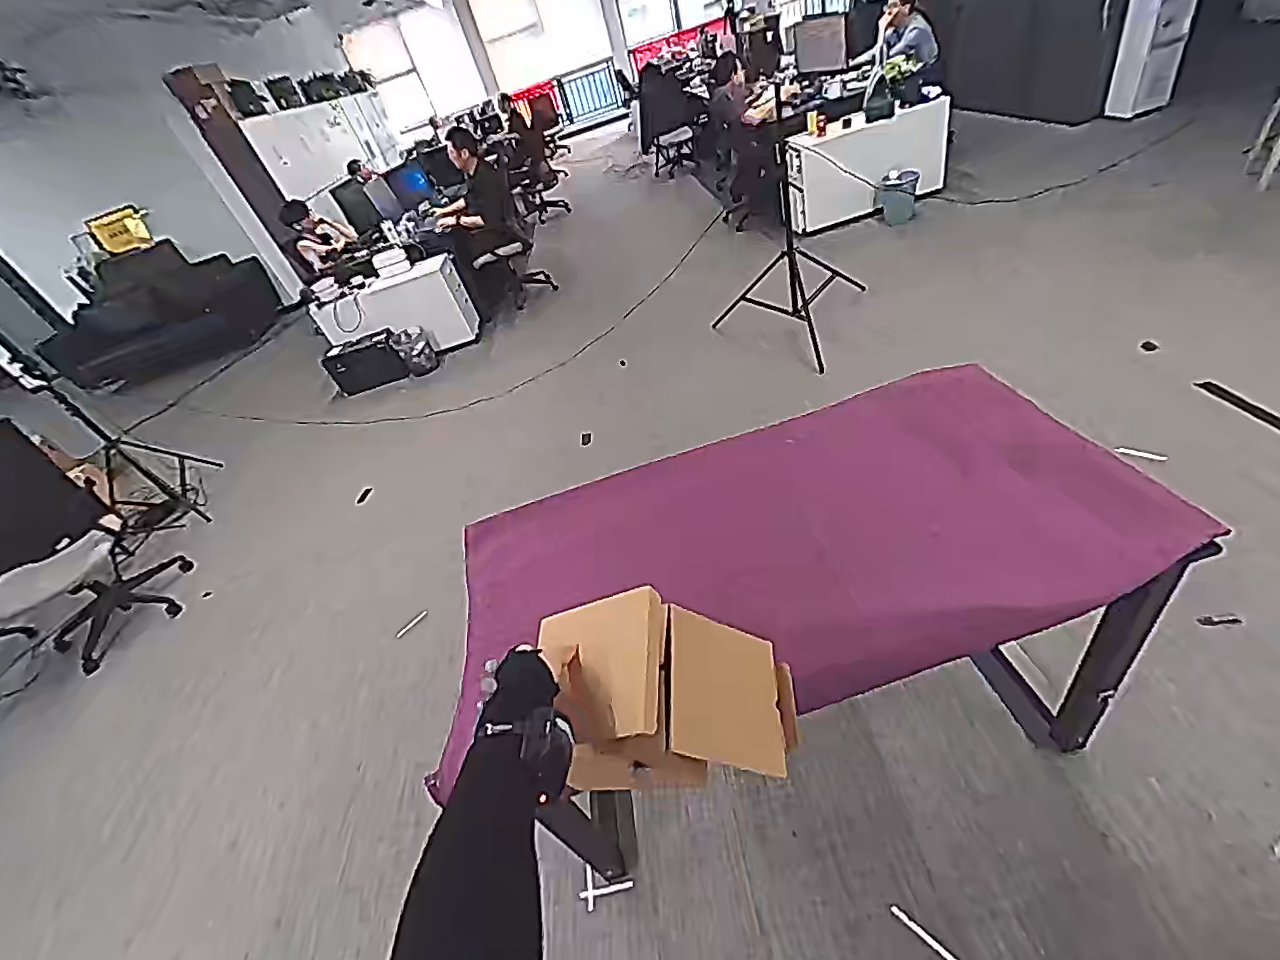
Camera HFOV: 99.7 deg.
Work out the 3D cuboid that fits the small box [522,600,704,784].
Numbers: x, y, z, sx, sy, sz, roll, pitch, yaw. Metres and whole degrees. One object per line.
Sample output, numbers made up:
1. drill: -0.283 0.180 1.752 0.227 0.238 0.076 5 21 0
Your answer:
1. small box: -0.019 0.272 0.681 0.179 0.176 0.168 -12 46 17
